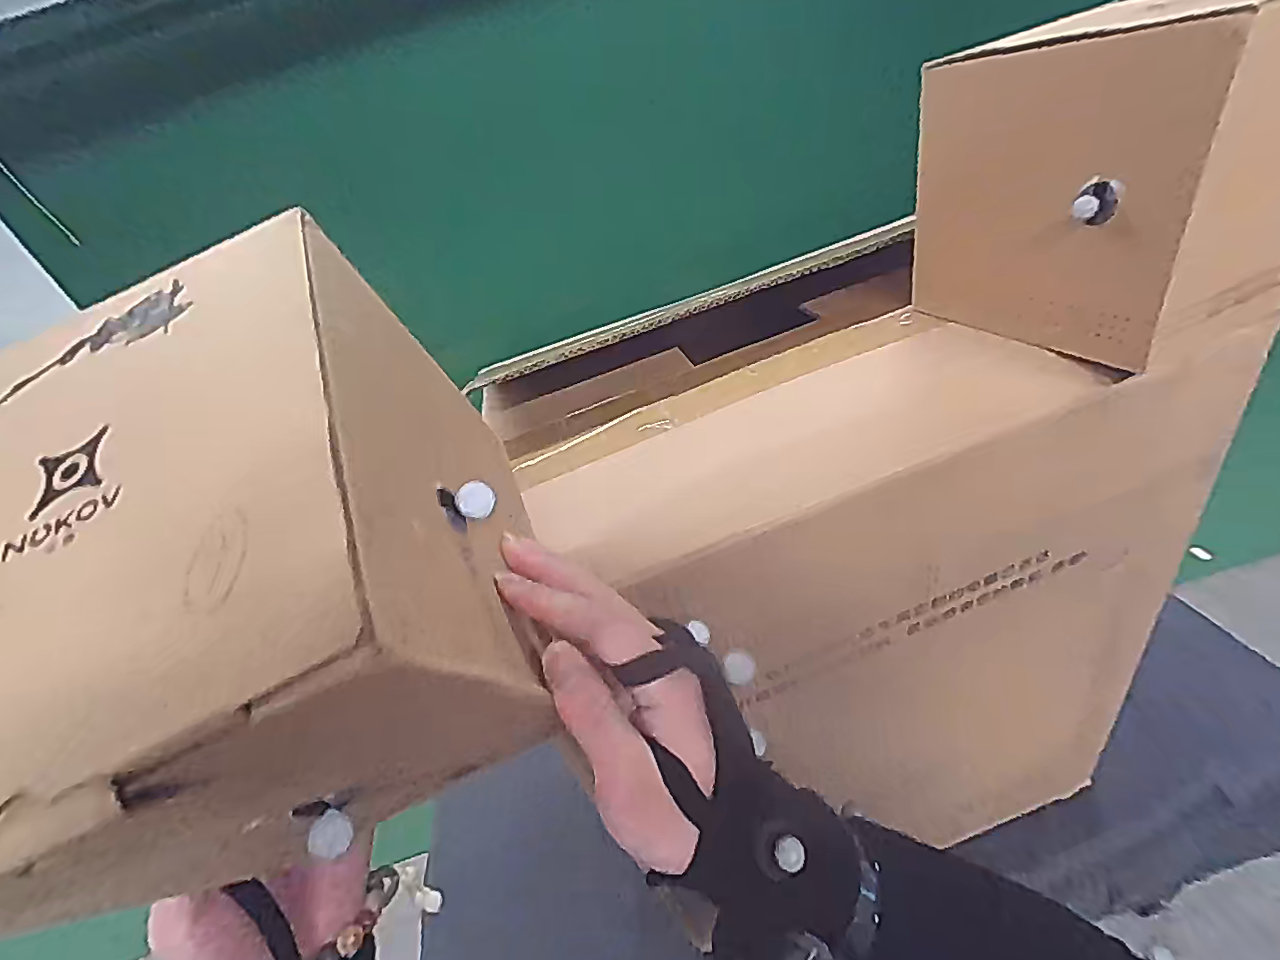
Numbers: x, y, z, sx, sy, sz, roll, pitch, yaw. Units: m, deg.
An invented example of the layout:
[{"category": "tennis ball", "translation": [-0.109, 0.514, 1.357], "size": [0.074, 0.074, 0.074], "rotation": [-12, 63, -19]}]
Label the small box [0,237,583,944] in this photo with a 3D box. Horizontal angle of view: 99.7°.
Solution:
[{"category": "small box", "translation": [-0.142, 0.048, 0.227], "size": [0.168, 0.176, 0.179], "rotation": [-26, 61, -1]}]

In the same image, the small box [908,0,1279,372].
[{"category": "small box", "translation": [0.306, -0.187, 0.352], "size": [0.168, 0.176, 0.179], "rotation": [-23, 35, -11]}]
